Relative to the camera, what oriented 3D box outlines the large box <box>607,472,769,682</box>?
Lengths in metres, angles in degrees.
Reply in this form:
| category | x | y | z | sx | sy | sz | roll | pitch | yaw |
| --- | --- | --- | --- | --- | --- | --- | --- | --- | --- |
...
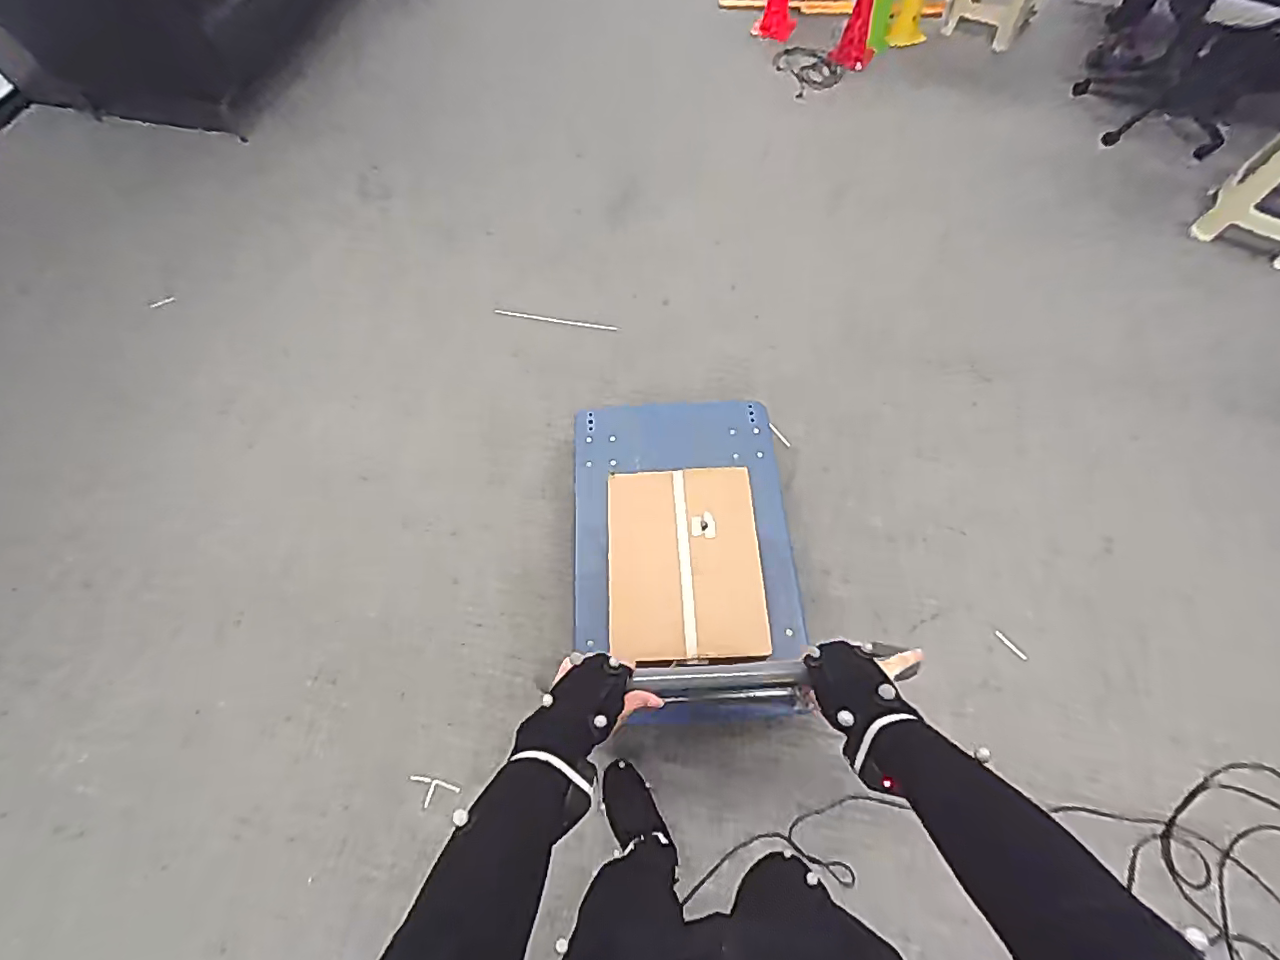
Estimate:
| category | x | y | z | sx | sy | sz | roll | pitch | yaw |
| --- | --- | --- | --- | --- | --- | --- | --- | --- | --- |
| large box | 0.096 | 0.236 | 1.266 | 0.320 | 0.320 | 0.408 | -3 | 63 | 1 |
